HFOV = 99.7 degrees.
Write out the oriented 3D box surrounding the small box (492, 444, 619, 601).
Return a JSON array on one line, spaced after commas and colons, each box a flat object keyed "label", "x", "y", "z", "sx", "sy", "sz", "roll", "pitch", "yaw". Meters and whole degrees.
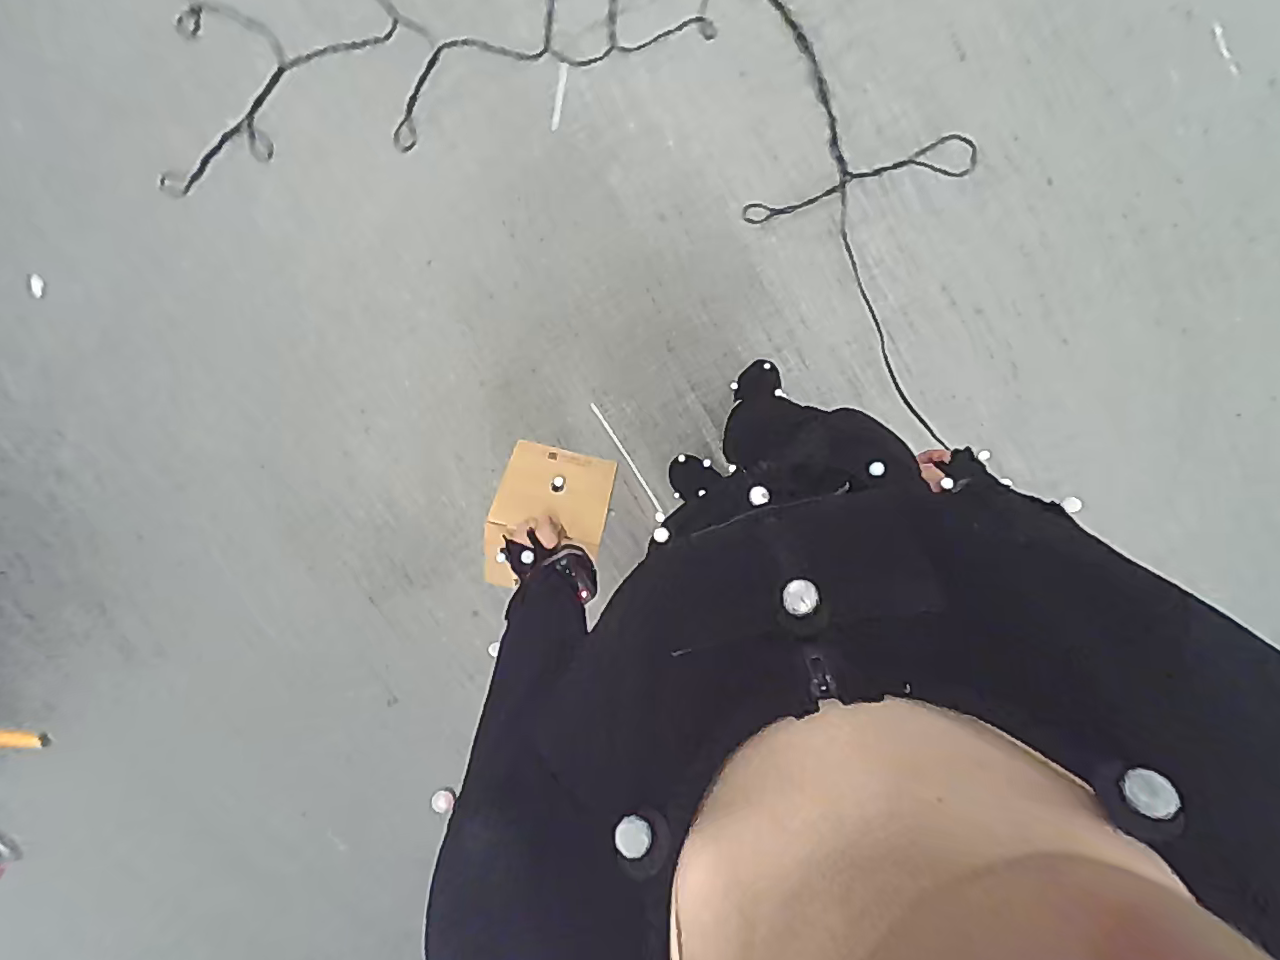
[{"label": "small box", "x": -0.133, "y": 0.067, "z": 0.872, "sx": 0.168, "sy": 0.176, "sz": 0.179, "roll": 13, "pitch": 138, "yaw": -4}]
